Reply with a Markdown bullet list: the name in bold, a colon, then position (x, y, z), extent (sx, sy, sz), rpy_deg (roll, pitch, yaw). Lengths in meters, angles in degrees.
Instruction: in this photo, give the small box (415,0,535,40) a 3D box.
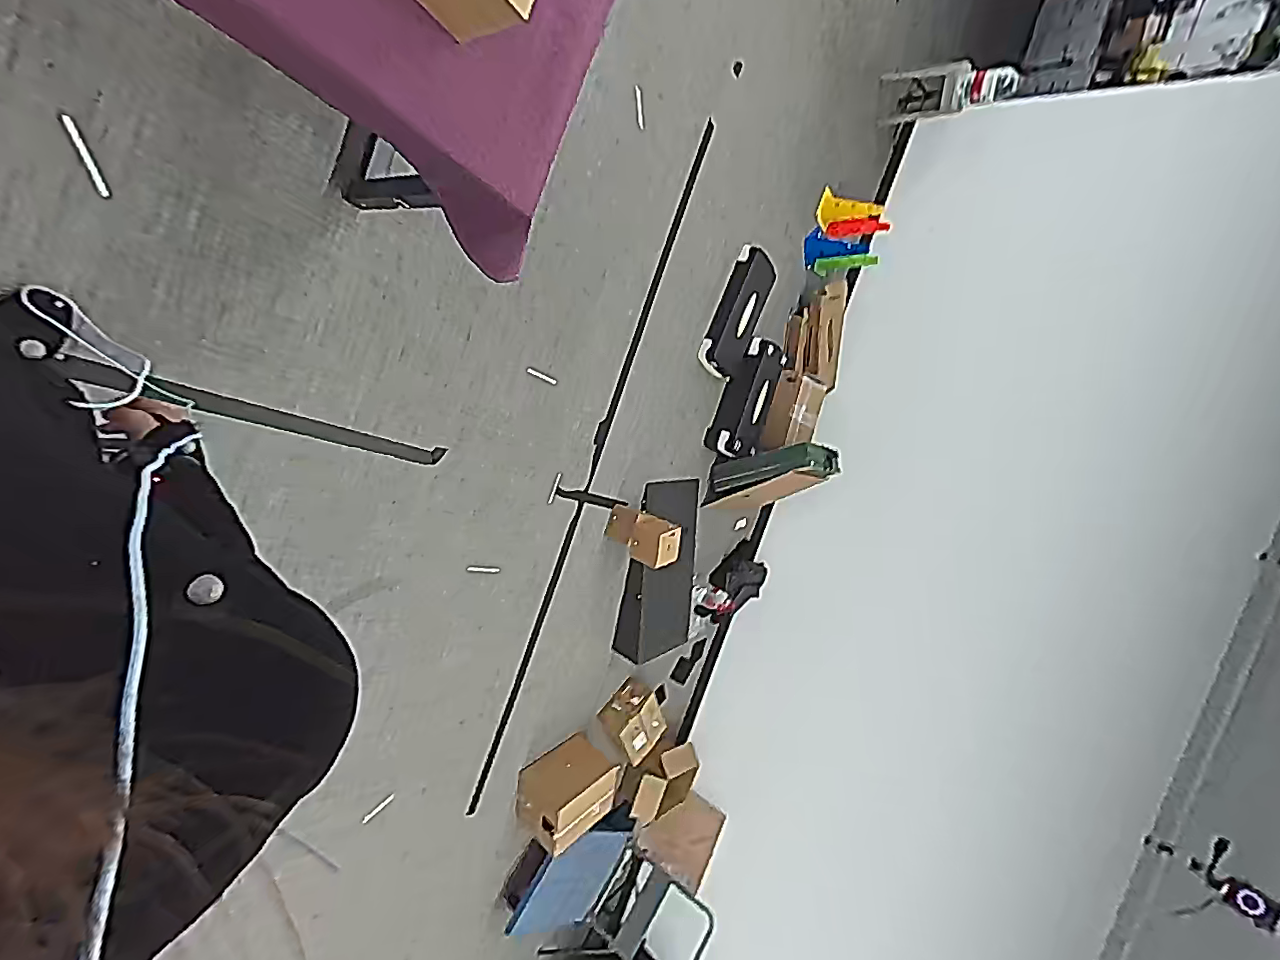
- **small box**: position (-0.241, -0.743, 0.726), extent (0.179, 0.176, 0.168), rpy_deg (16, 94, -54)
